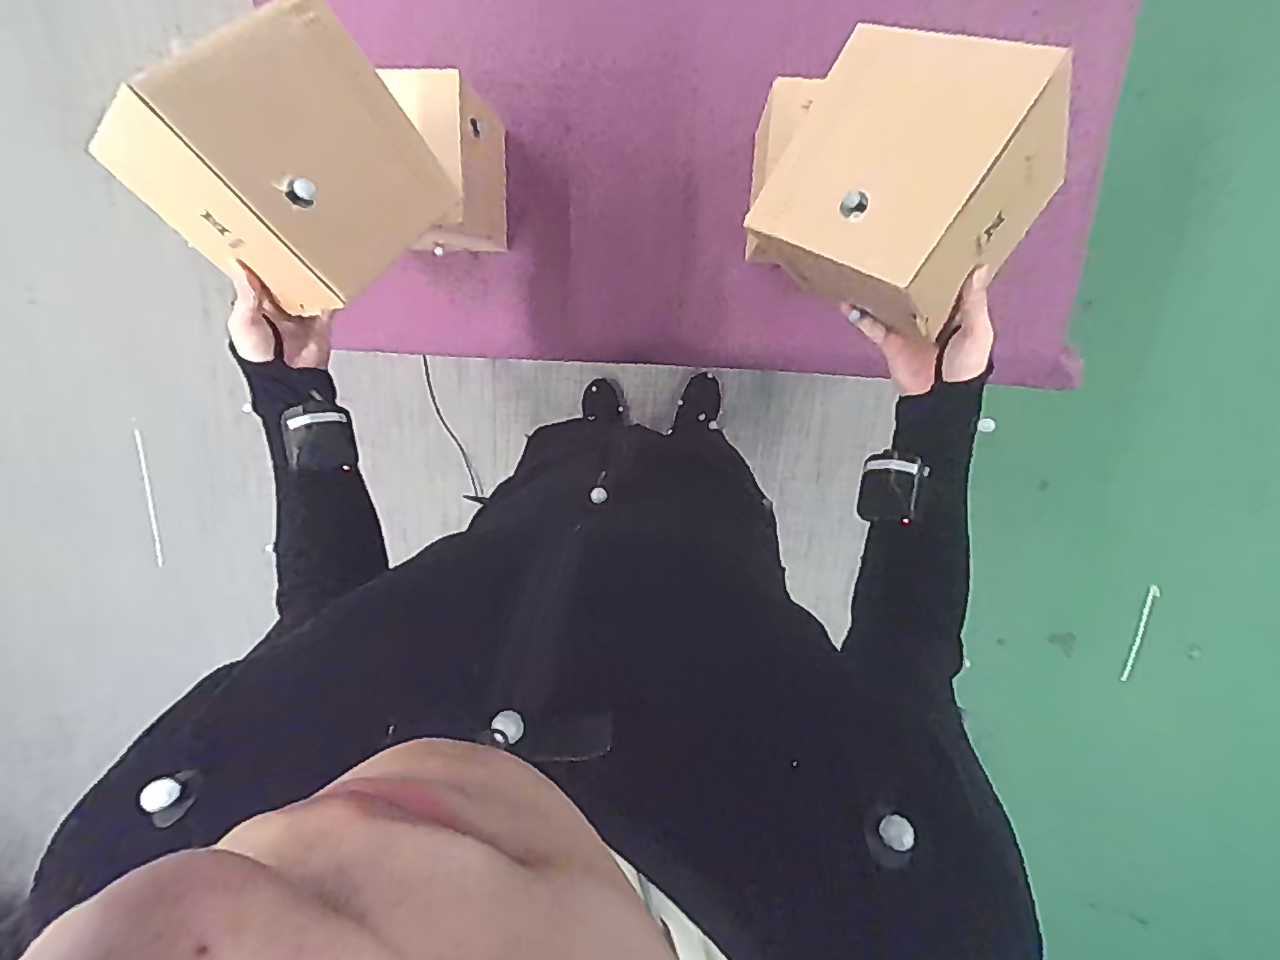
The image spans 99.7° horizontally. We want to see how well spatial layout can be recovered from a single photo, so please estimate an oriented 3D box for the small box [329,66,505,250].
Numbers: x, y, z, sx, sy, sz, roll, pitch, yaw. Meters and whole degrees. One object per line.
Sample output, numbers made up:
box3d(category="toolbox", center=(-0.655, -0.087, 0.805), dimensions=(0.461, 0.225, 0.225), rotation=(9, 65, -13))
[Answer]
box3d(category="small box", center=(-0.291, -0.427, 0.742), dimensions=(0.168, 0.176, 0.179), rotation=(3, 104, 5))
